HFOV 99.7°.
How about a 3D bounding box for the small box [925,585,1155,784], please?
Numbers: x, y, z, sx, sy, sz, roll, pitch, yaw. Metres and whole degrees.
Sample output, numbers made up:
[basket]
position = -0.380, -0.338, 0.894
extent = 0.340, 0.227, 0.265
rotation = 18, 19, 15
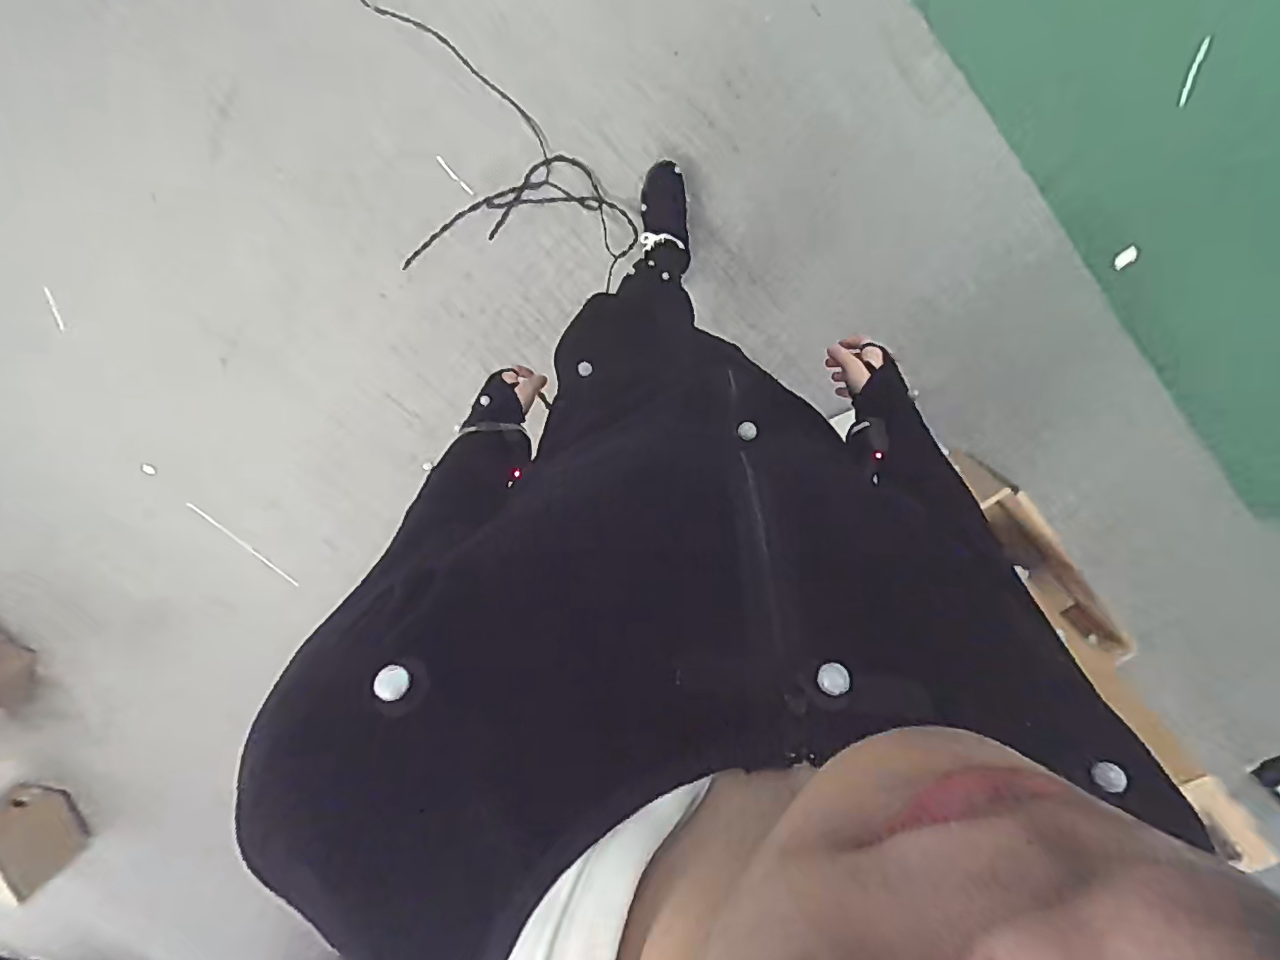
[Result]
[small box]
position = 0.555, 0.285, 0.777
extent = 0.168, 0.176, 0.179
rotation = 44, 112, -13
